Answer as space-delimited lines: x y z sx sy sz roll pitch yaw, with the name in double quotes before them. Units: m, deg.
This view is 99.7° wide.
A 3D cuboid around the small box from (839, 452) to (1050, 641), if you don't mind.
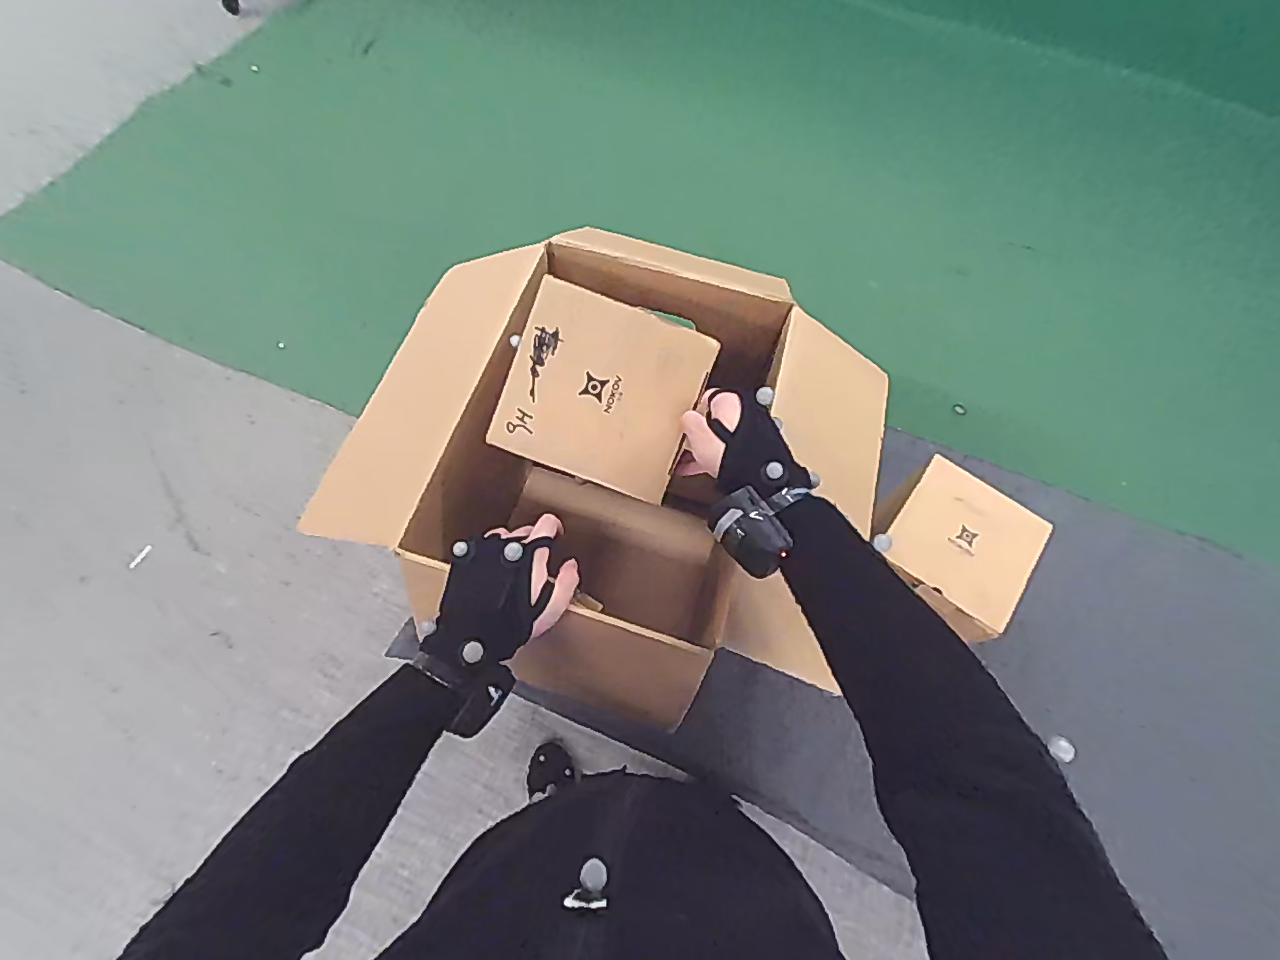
"small box" 0.403 0.101 0.748 0.168 0.176 0.179 36 69 11
